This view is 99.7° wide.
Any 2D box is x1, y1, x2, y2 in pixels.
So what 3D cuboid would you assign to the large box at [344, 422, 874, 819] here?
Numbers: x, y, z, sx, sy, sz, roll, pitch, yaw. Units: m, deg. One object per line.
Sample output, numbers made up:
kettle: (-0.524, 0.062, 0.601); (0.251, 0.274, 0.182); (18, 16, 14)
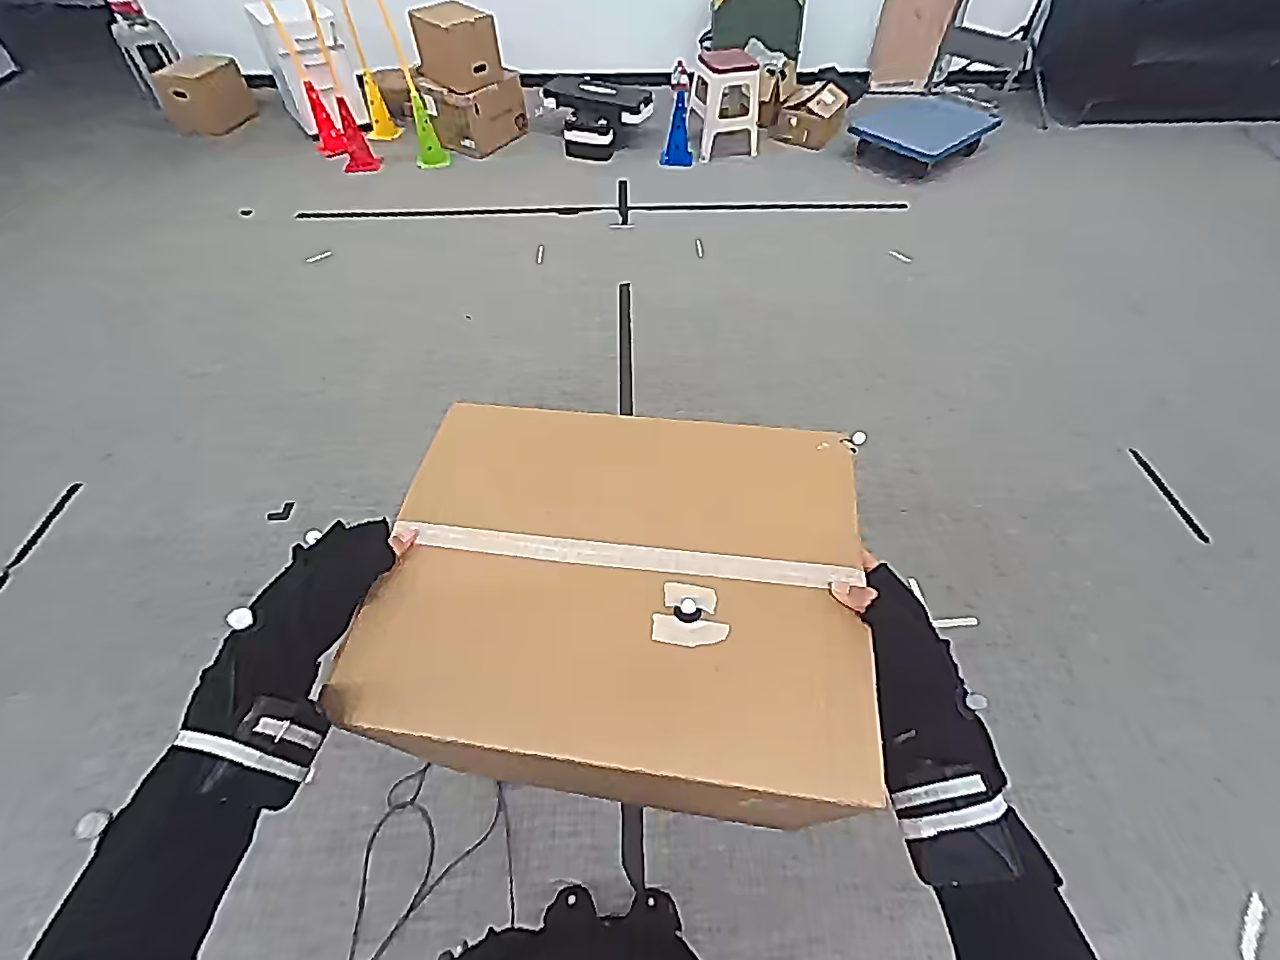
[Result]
large box: (-0.009, 0.161, 0.598); (0.408, 0.320, 0.320); (5, 56, 7)
